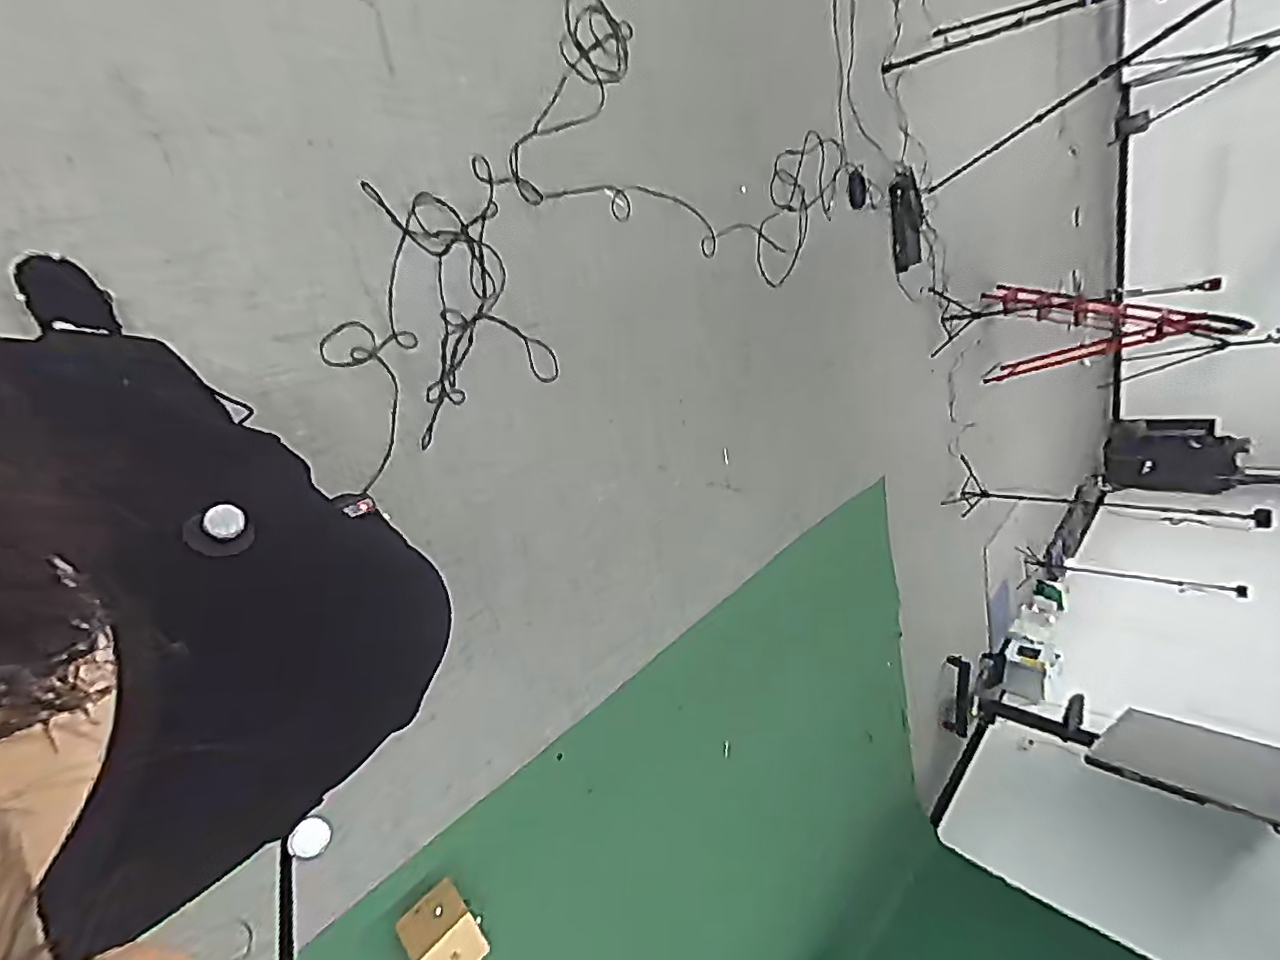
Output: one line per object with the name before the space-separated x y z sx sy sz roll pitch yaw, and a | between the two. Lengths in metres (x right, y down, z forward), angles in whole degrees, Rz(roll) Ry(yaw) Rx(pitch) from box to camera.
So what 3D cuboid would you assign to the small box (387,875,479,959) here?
small box | -0.604 1.300 1.568 0.168 0.176 0.179 -31 116 -36
